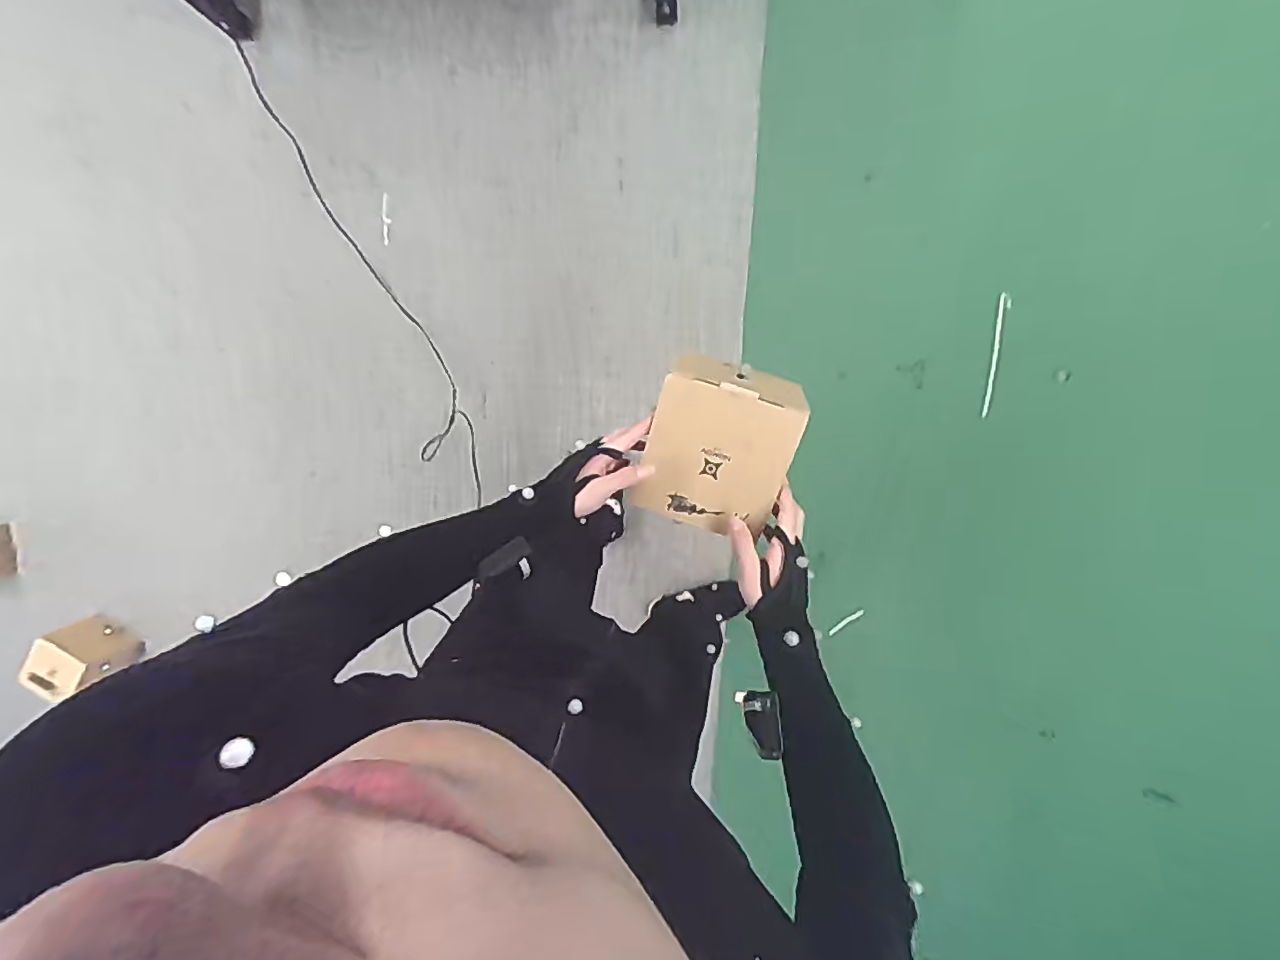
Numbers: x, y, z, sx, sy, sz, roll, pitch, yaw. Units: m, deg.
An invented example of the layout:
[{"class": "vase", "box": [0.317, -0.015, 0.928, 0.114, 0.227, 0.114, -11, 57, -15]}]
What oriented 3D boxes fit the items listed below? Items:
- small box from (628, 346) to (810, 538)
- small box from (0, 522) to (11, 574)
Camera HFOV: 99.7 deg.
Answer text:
[{"class": "small box", "box": [0.098, -0.059, 0.692, 0.168, 0.176, 0.179, 19, 114, 4]}, {"class": "small box", "box": [-2.075, 0.220, 1.635, 0.179, 0.176, 0.168, -1, 98, 4]}]
